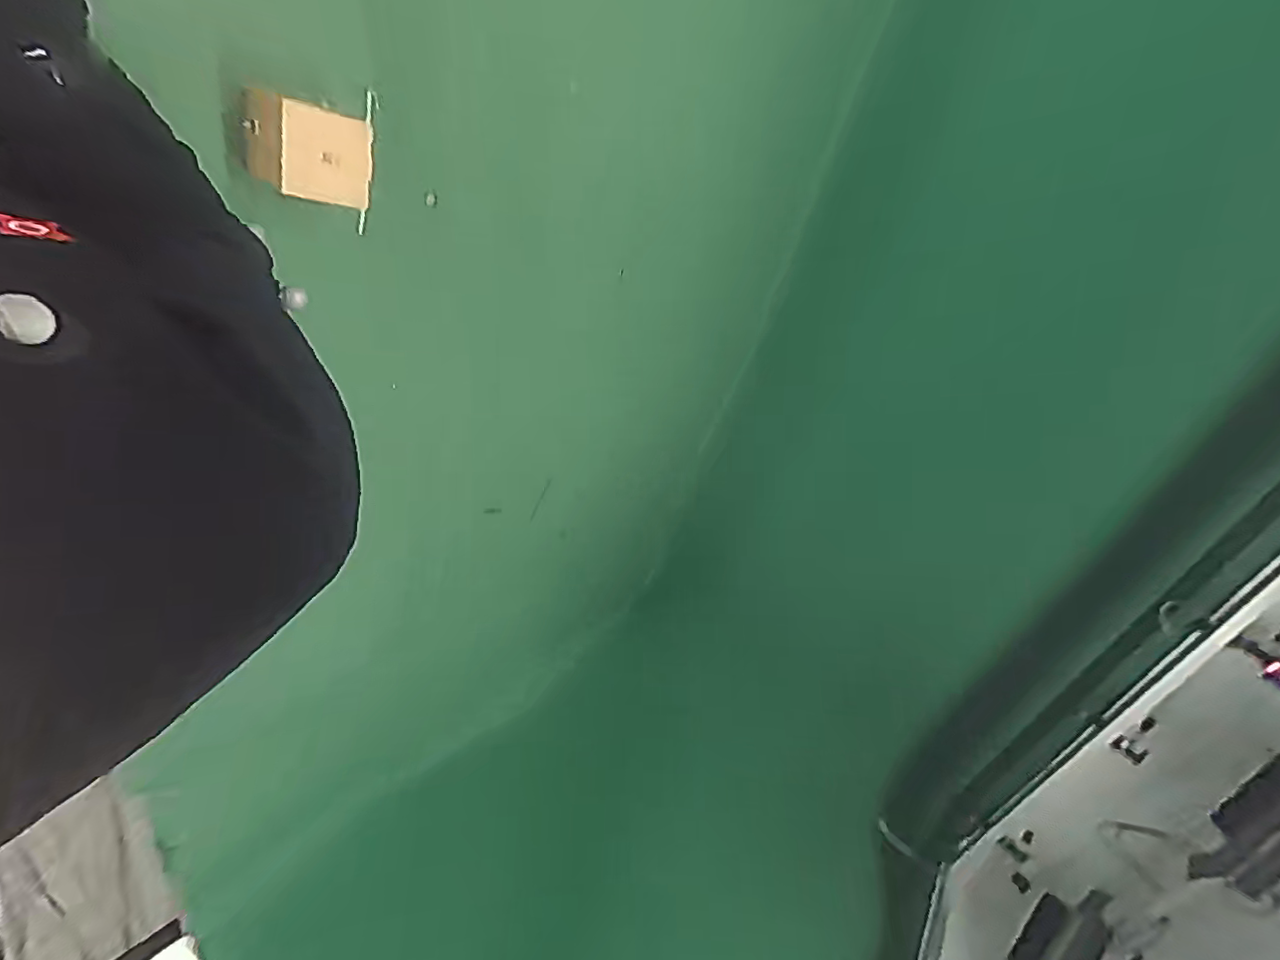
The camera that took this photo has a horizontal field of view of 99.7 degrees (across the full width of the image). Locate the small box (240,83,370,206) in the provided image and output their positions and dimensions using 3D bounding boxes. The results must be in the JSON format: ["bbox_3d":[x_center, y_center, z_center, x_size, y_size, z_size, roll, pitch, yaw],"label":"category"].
[{"bbox_3d":[-0.696,-0.695,1.125,0.179,0.176,0.168,-18,134,-50],"label":"small box"}]
